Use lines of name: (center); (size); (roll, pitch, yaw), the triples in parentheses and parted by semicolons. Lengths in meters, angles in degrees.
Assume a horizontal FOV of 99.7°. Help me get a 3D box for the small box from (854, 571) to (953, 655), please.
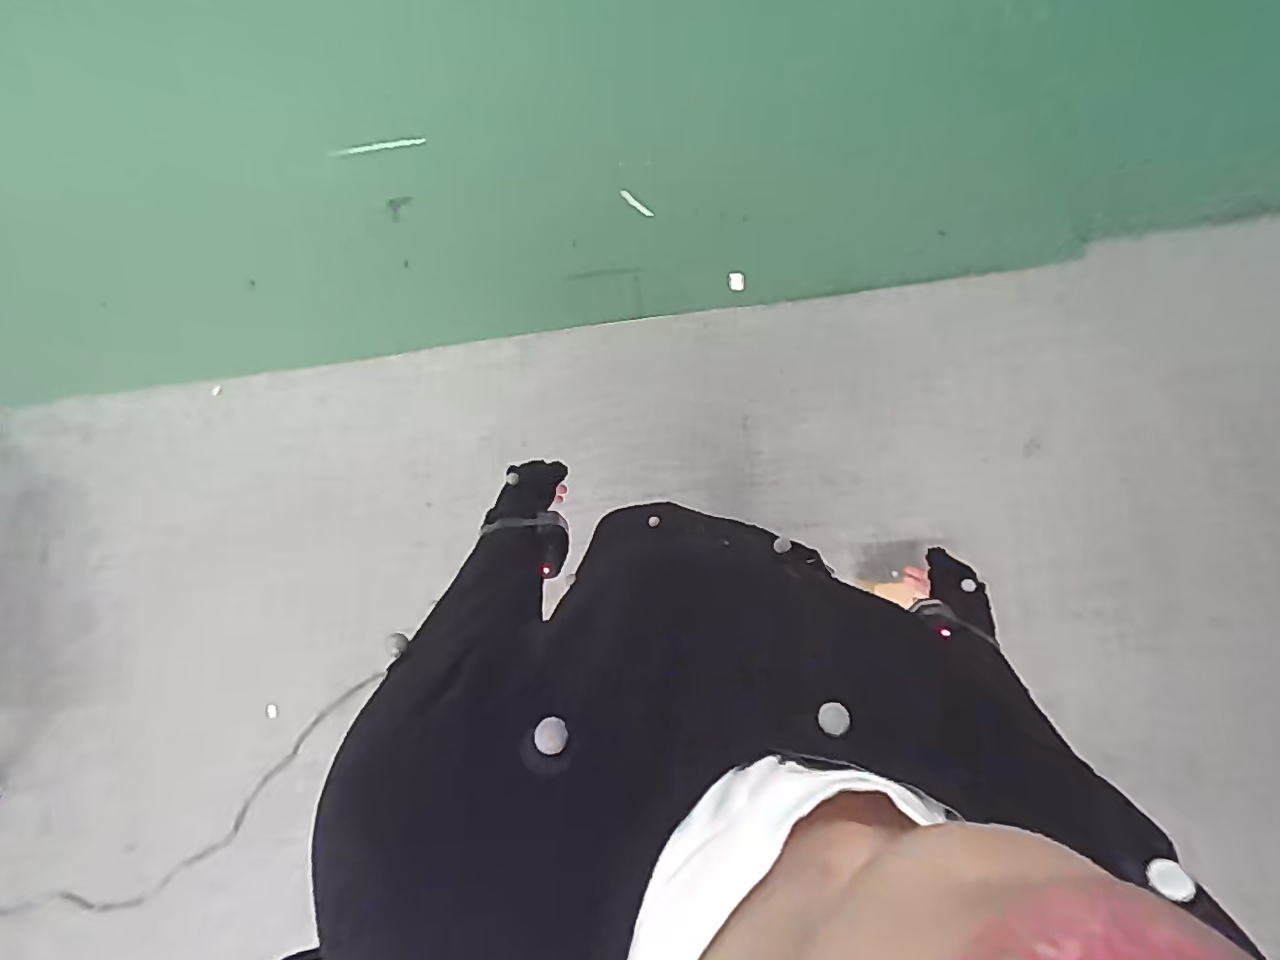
small box: (0.637, 0.320, 1.324); (0.168, 0.176, 0.179); (-4, 84, 5)
